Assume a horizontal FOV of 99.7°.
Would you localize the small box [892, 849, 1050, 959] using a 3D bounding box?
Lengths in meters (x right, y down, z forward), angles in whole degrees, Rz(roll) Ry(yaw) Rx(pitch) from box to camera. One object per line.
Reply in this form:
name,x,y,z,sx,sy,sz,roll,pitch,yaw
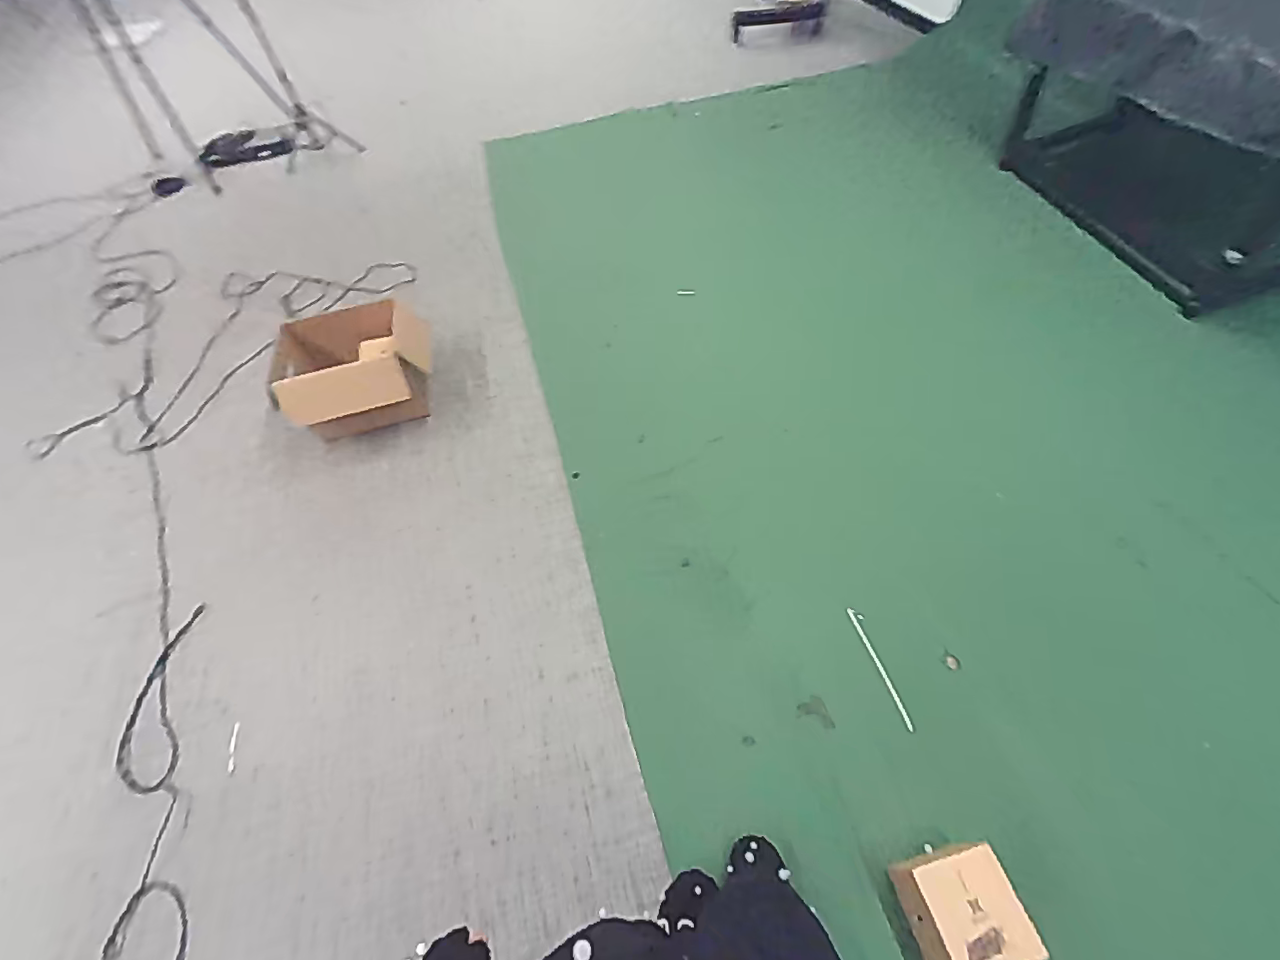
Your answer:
small box,0.619,0.832,1.037,0.168,0.176,0.179,-14,56,-5
